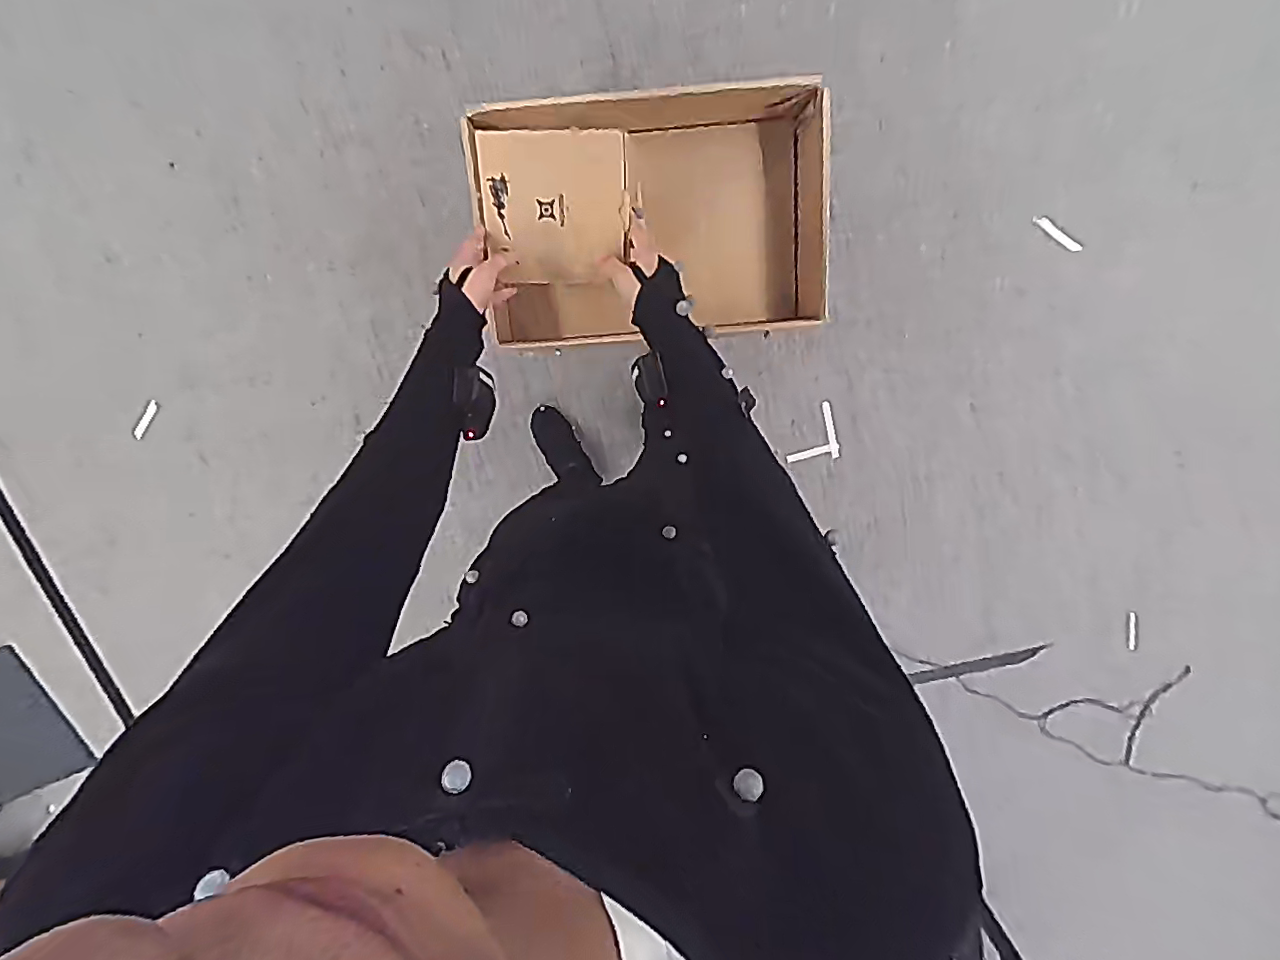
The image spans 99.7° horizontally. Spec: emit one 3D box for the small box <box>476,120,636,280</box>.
[{"bbox_3d":[-0.096,-0.361,0.708,0.179,0.176,0.168,2,116,3],"label":"small box"}]
